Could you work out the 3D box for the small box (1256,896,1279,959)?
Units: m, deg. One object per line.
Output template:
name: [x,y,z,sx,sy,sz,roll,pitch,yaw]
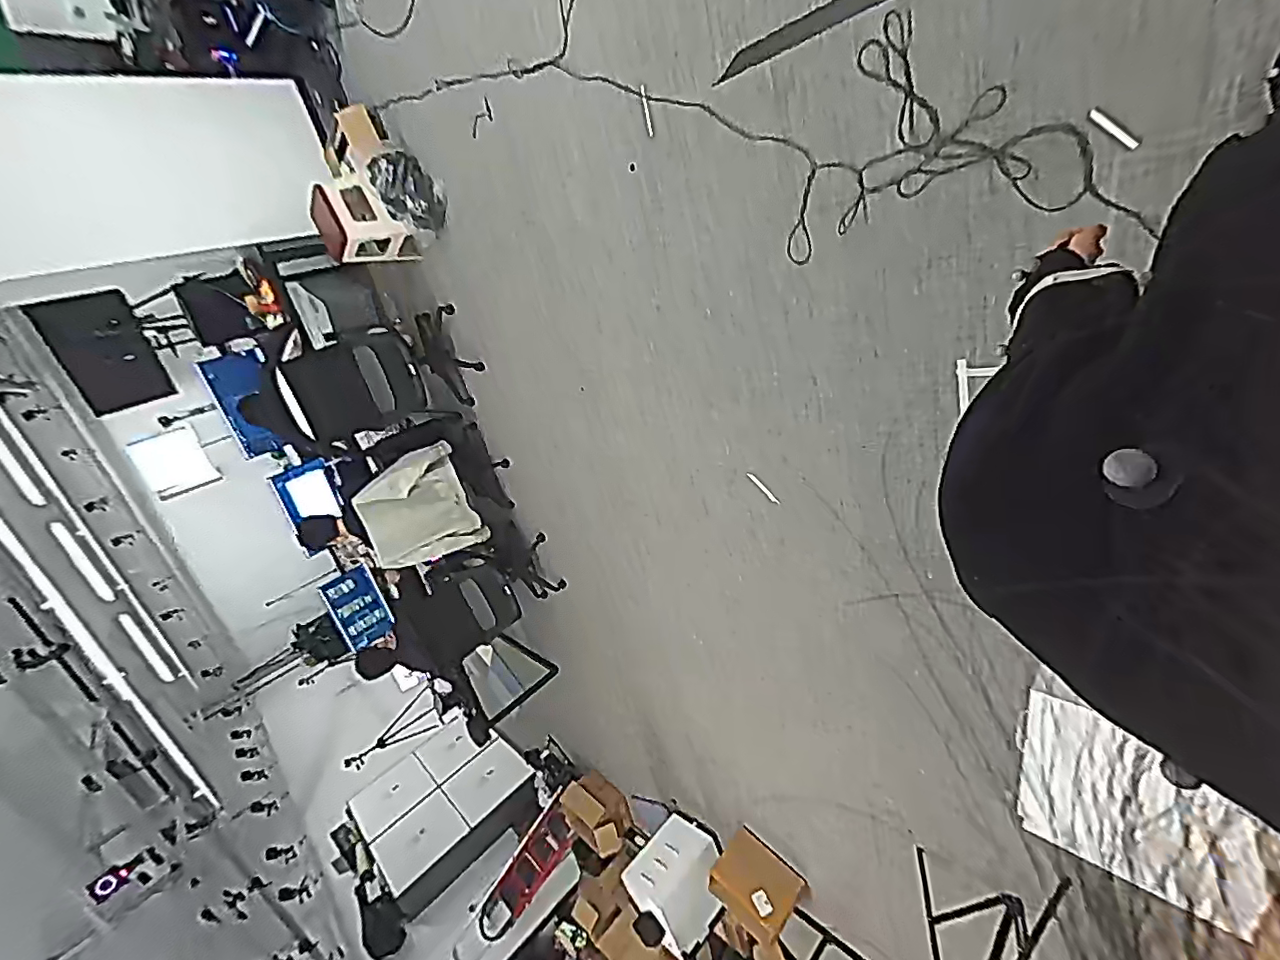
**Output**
small box: [1.009,0.728,0.759,0.168,0.176,0.179,17,128,44]
